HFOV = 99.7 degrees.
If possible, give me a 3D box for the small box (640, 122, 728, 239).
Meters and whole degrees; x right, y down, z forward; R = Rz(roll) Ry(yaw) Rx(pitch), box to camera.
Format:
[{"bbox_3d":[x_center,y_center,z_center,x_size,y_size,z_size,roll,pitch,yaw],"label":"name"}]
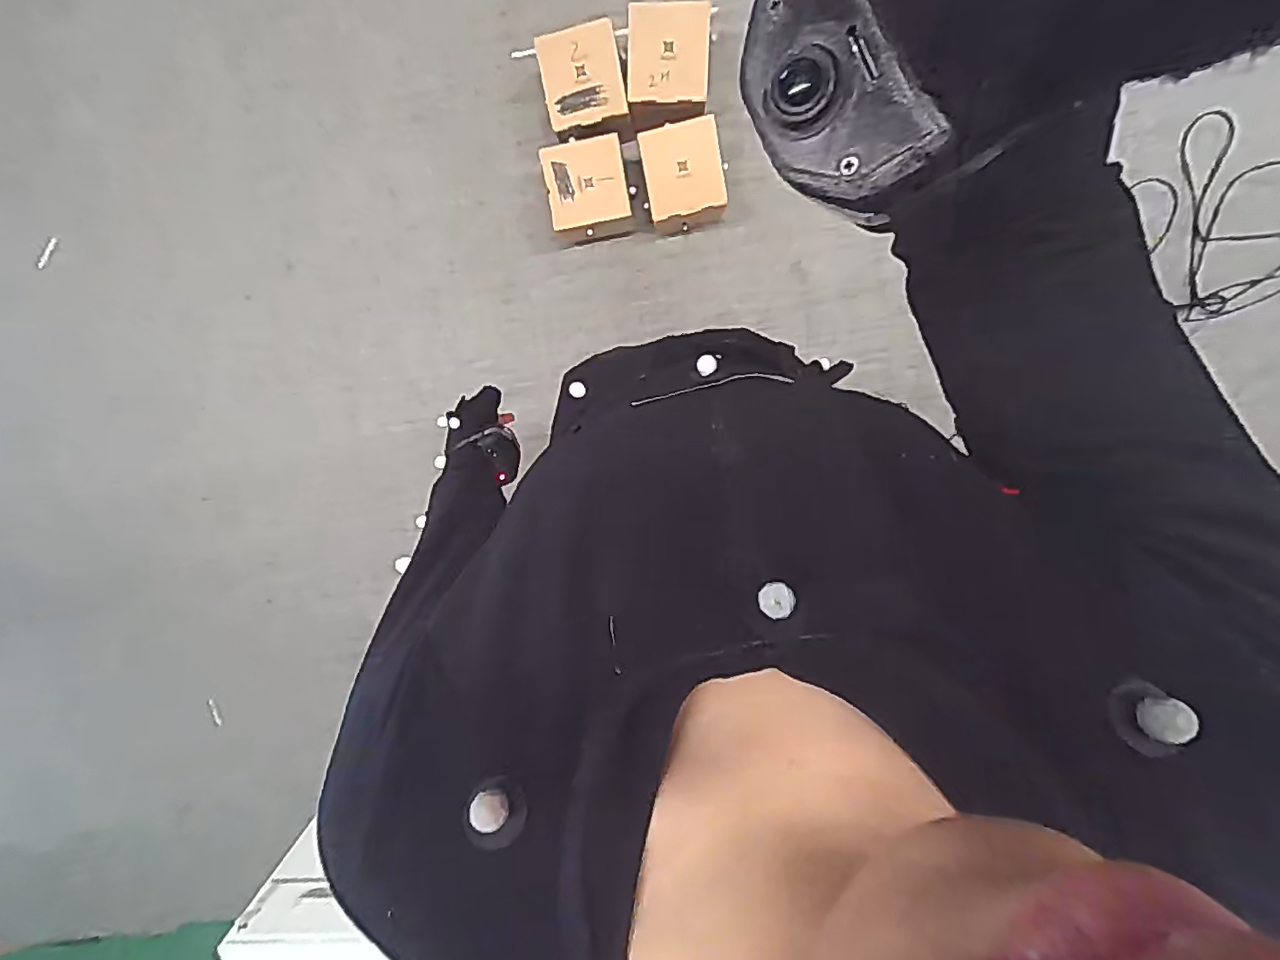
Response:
[{"bbox_3d":[0.098,-0.668,1.226,0.168,0.176,0.179,-11,104,6],"label":"small box"}]
